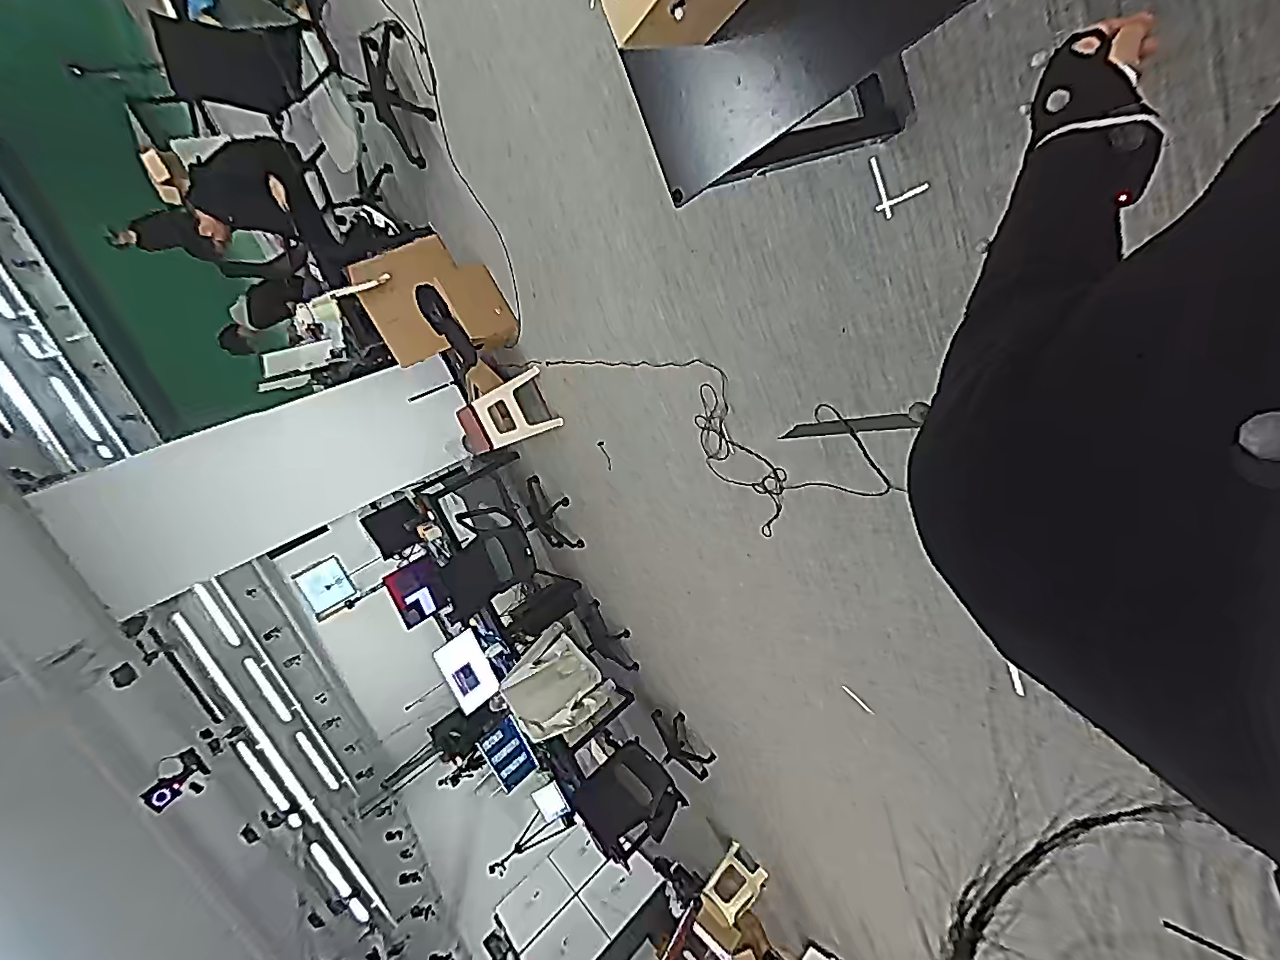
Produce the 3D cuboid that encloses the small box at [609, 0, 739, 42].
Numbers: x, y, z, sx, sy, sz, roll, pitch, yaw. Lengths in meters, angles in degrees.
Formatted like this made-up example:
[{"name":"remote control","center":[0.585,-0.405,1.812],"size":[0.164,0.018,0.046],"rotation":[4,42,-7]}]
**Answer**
[{"name":"small box","center":[0.055,-0.694,0.676],"size":[0.179,0.176,0.168],"rotation":[-6,112,56]}]
